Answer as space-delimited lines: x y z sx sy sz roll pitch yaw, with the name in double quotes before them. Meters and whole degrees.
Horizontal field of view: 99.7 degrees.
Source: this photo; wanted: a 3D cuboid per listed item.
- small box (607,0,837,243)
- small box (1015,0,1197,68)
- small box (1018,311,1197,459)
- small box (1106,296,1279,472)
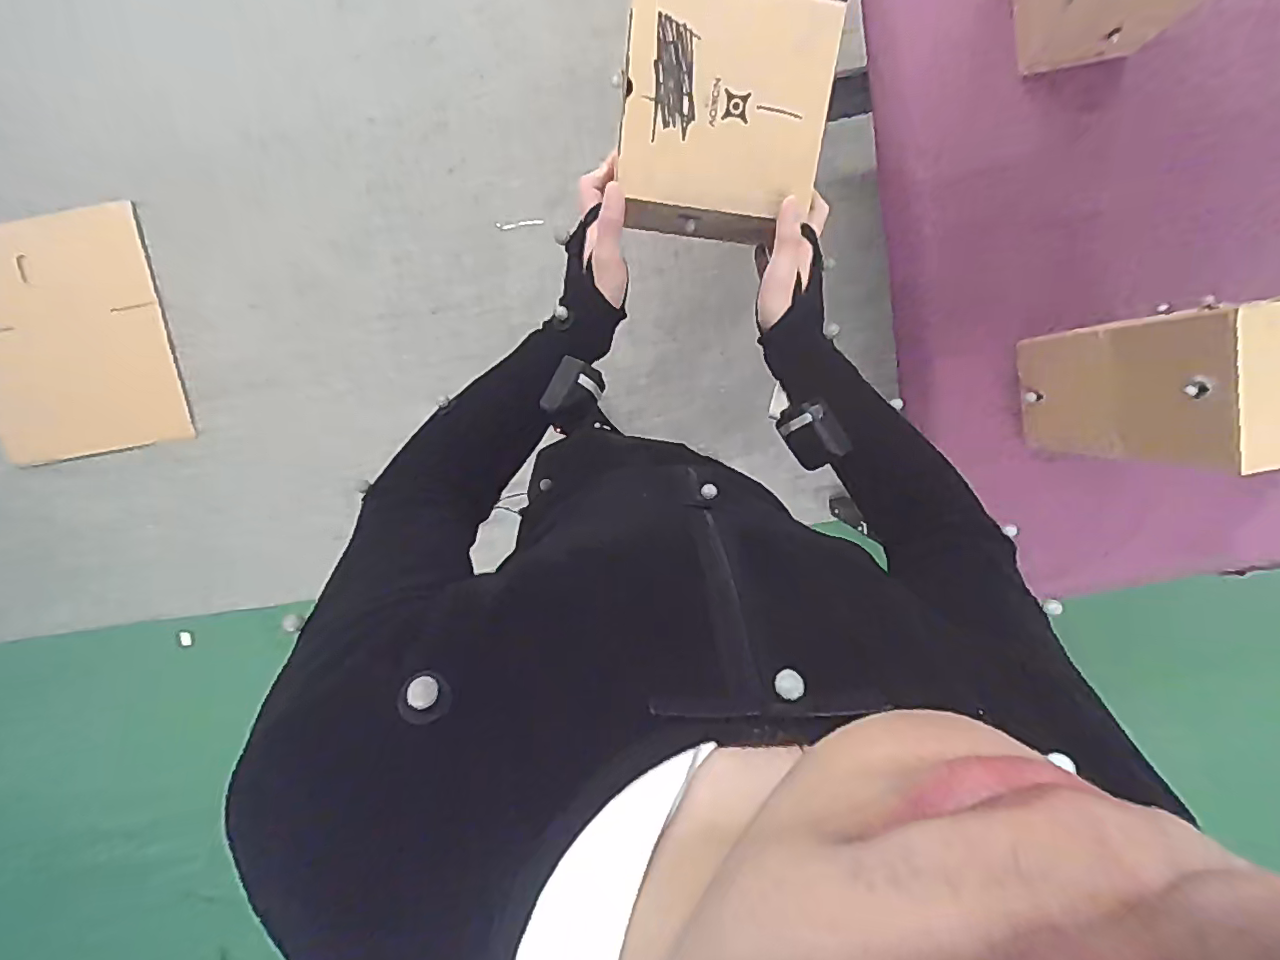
"small box" 0.063 -0.339 0.534 0.179 0.176 0.168 5 107 -5
"small box" 0.627 -0.683 0.710 0.168 0.176 0.179 -9 98 3
"small box" 0.692 -0.138 0.790 0.168 0.176 0.179 -11 98 3
"small box" 0.689 -0.113 0.627 0.168 0.176 0.179 -9 98 4
